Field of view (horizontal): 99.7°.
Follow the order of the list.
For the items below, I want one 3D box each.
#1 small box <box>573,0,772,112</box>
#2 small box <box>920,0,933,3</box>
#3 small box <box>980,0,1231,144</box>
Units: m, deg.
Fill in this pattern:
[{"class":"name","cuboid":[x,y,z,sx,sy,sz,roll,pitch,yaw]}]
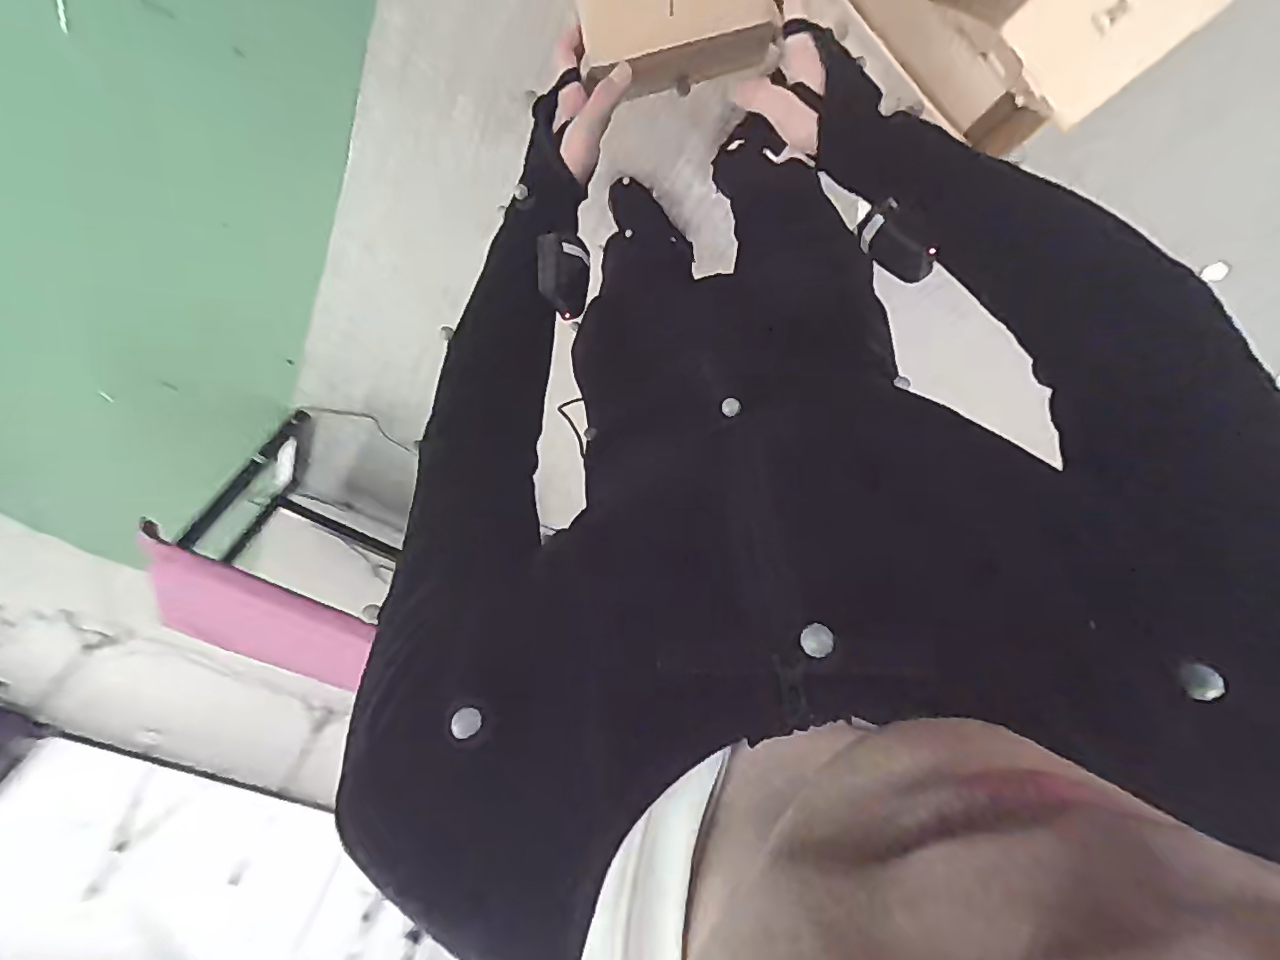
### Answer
[{"class":"small box","cuboid":[0.030,-0.476,0.505,0.168,0.176,0.179,-5,115,13]},{"class":"small box","cuboid":[0.402,-0.806,0.730,0.168,0.176,0.179,32,133,-19]},{"class":"small box","cuboid":[0.567,-0.582,0.689,0.168,0.176,0.179,36,132,-20]}]
